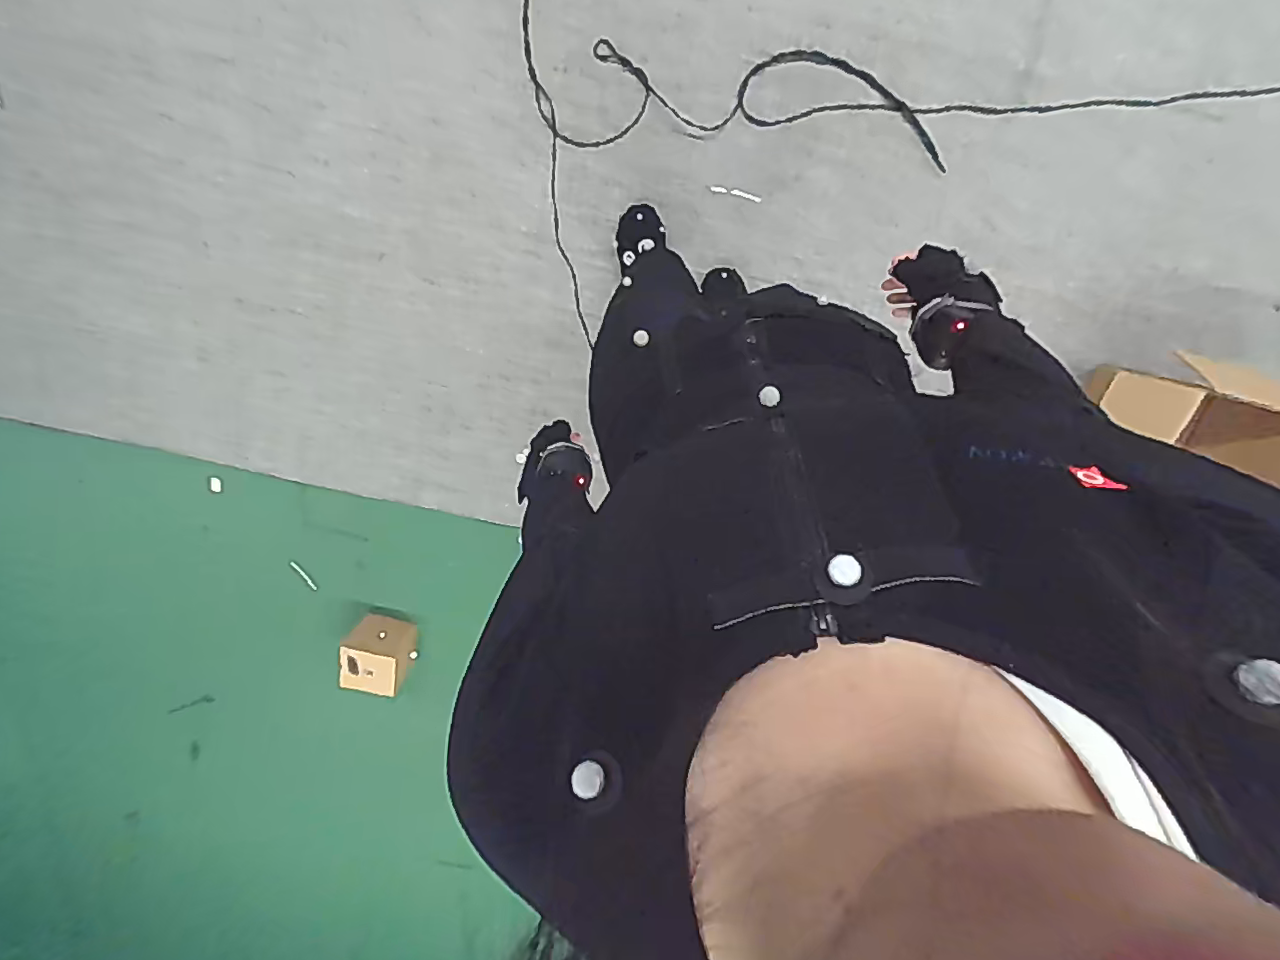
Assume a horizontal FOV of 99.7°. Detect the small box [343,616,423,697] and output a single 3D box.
[{"bbox_3d":[-0.833,0.567,1.758,0.179,0.176,0.168,13,114,-2],"label":"small box"}]
